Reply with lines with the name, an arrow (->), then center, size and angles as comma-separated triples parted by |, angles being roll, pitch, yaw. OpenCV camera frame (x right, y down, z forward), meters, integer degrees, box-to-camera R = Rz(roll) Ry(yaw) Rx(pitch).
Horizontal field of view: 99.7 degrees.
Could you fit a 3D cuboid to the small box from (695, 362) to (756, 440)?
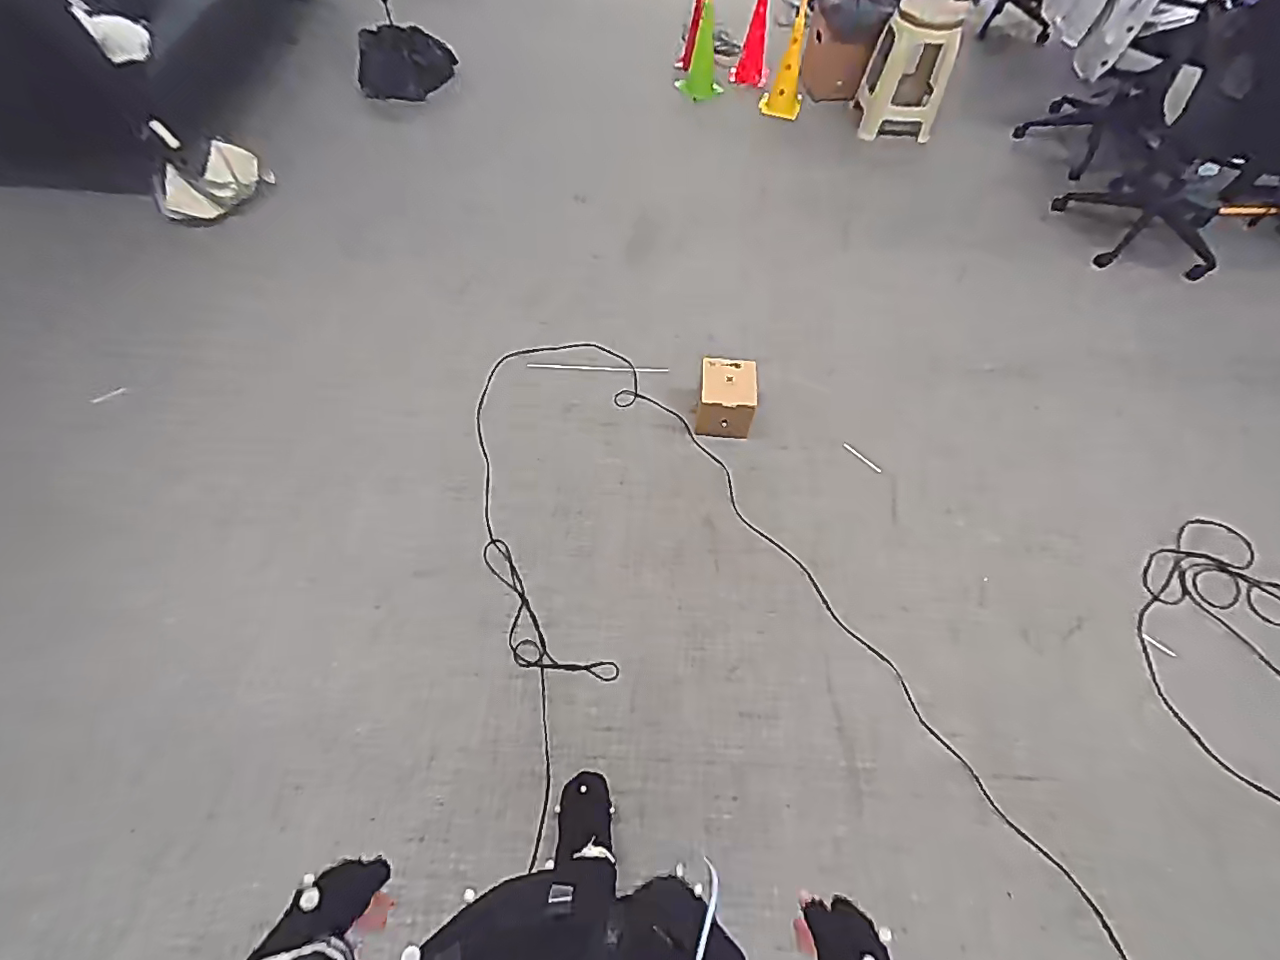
small box -> 0.264, -0.243, 1.689 | 0.168, 0.176, 0.179 | 6, 61, 1
